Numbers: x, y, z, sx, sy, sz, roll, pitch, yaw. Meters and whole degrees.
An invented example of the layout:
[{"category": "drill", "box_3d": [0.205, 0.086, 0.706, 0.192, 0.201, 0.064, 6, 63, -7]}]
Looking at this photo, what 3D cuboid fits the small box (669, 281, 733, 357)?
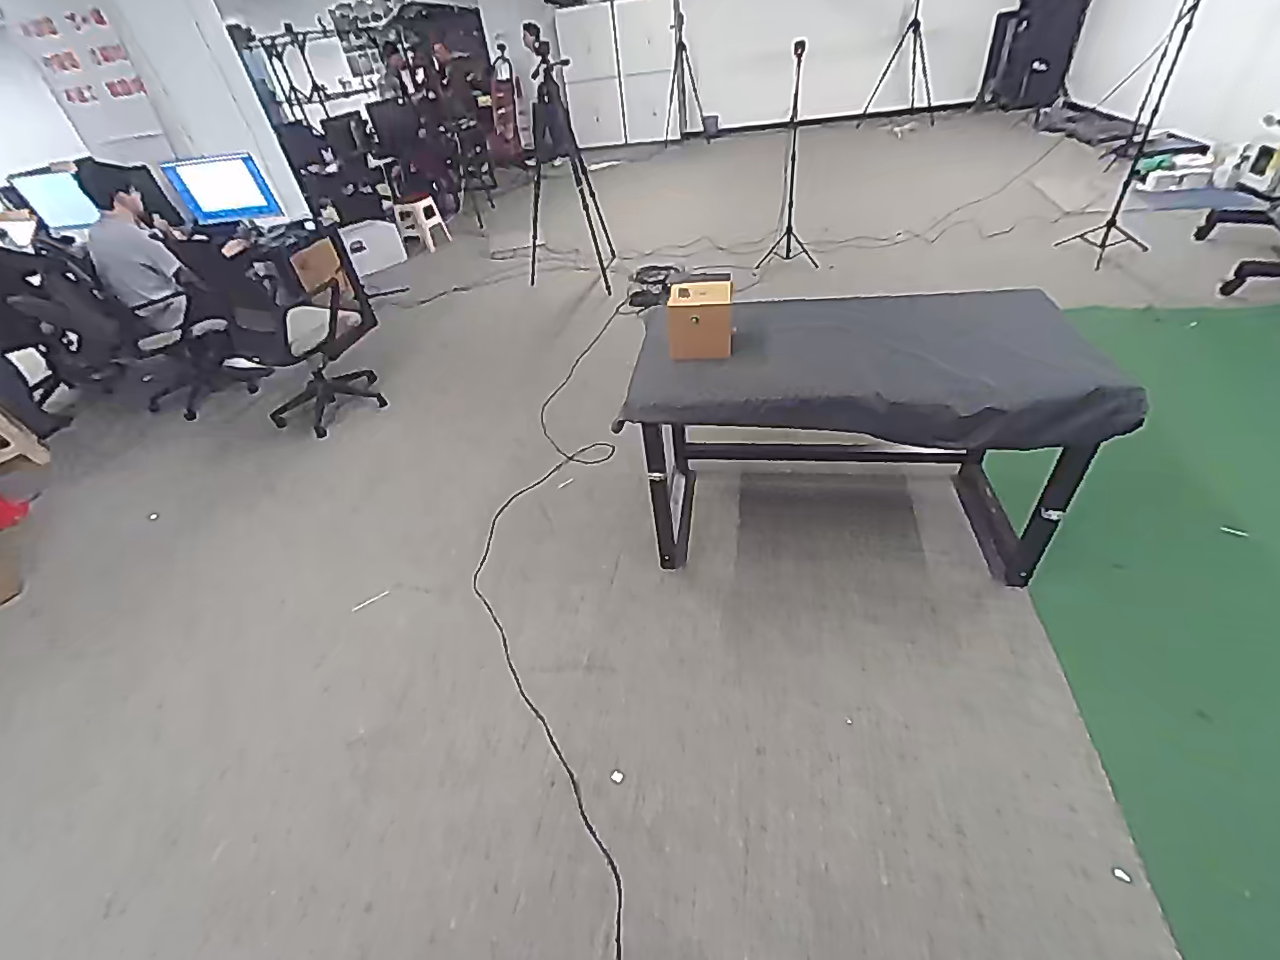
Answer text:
[{"category": "small box", "box_3d": [0.184, -0.472, 1.595, 0.179, 0.176, 0.168, 1, 41, 9]}]
